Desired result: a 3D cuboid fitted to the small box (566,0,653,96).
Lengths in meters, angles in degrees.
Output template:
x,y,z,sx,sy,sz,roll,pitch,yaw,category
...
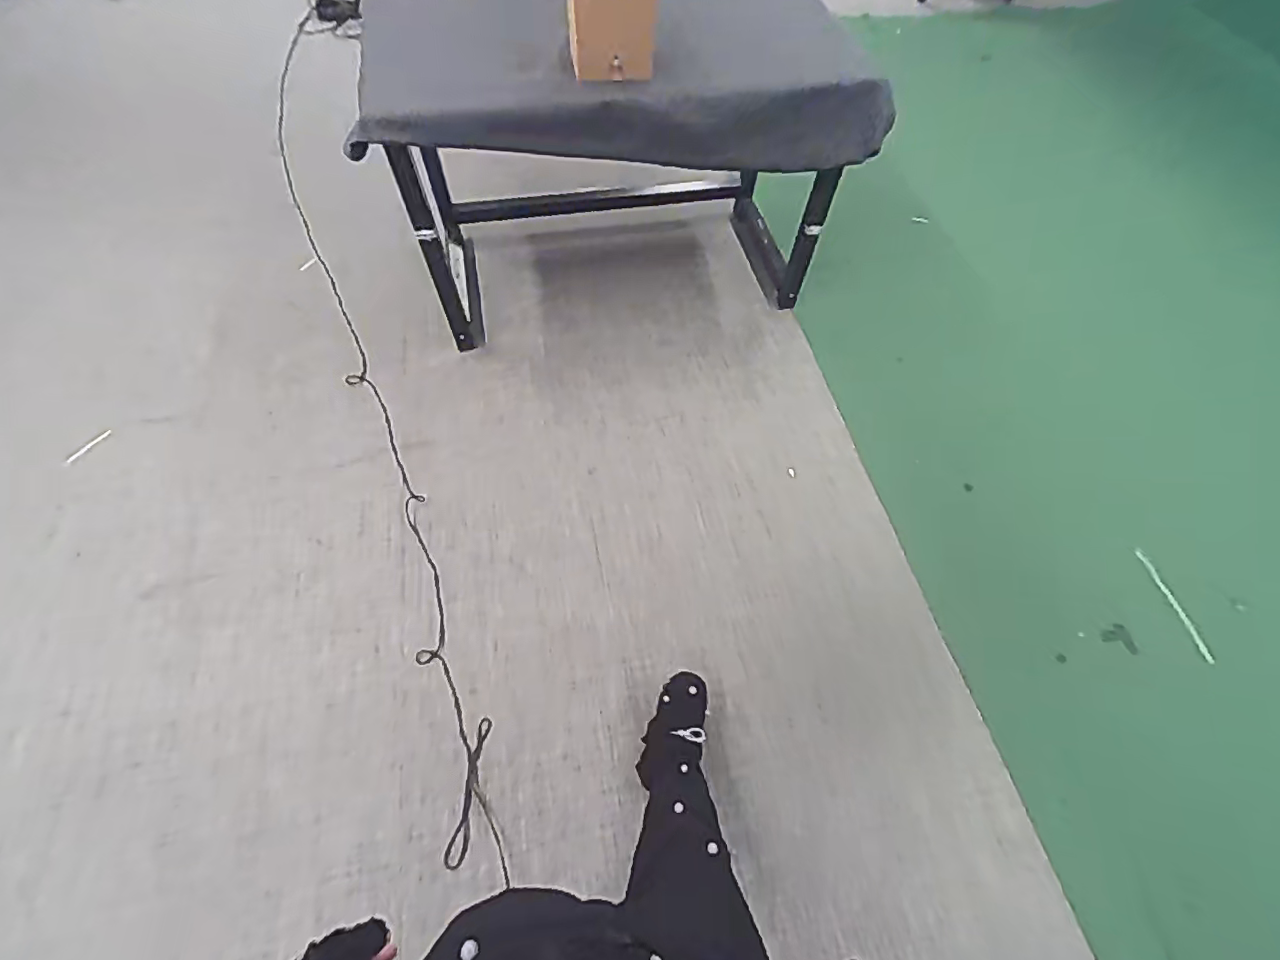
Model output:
x,y,z,sx,sy,sz,roll,pitch,yaw,category
-0.075,-1.009,1.236,0.179,0.176,0.168,-7,60,-7,small box
